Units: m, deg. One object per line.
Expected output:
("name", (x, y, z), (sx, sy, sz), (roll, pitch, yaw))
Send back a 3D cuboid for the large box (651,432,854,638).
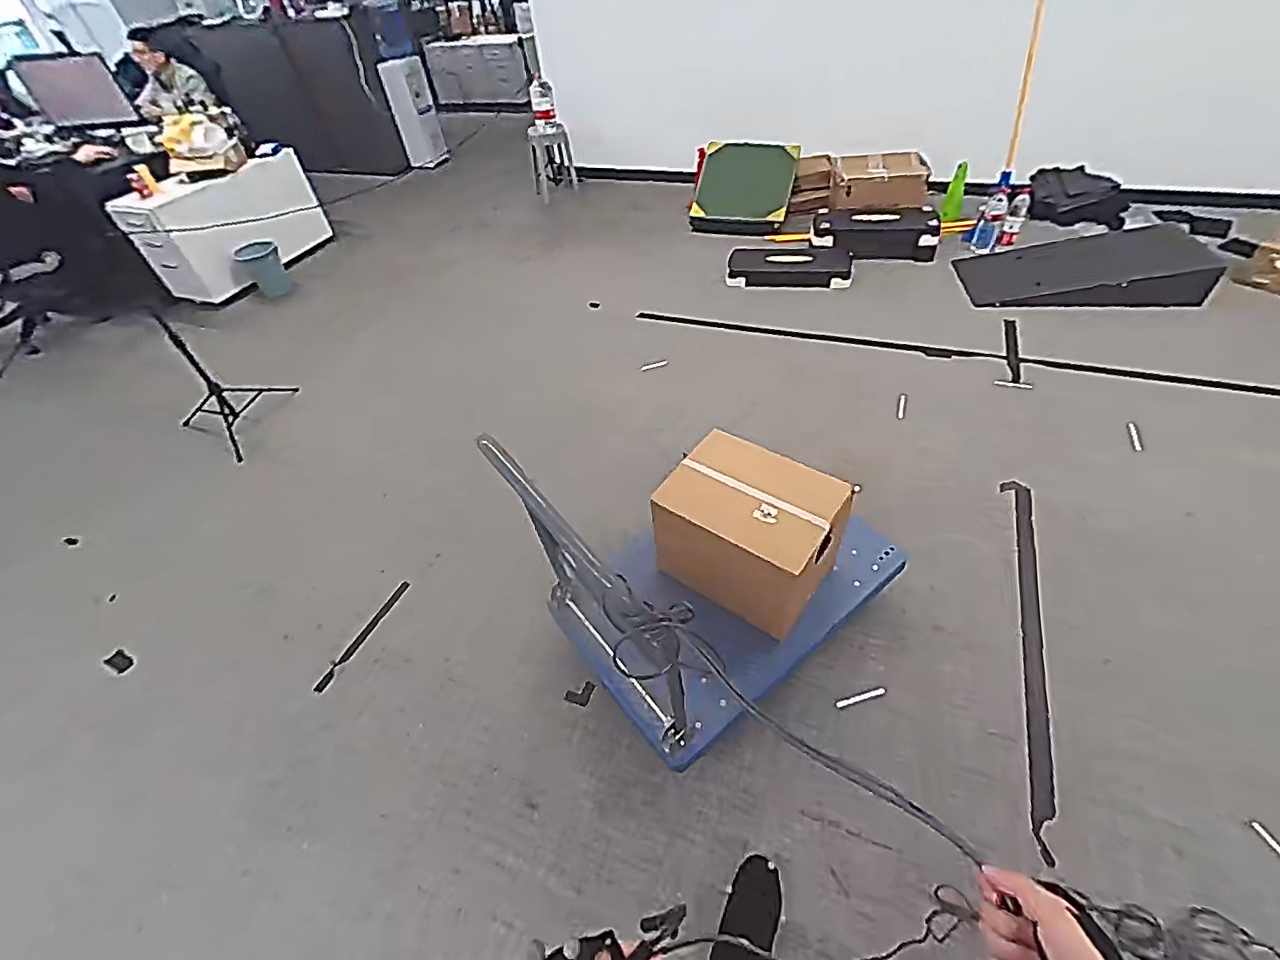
("large box", (0.281, 0.137, 1.425), (0.408, 0.320, 0.320), (27, 56, 27))
